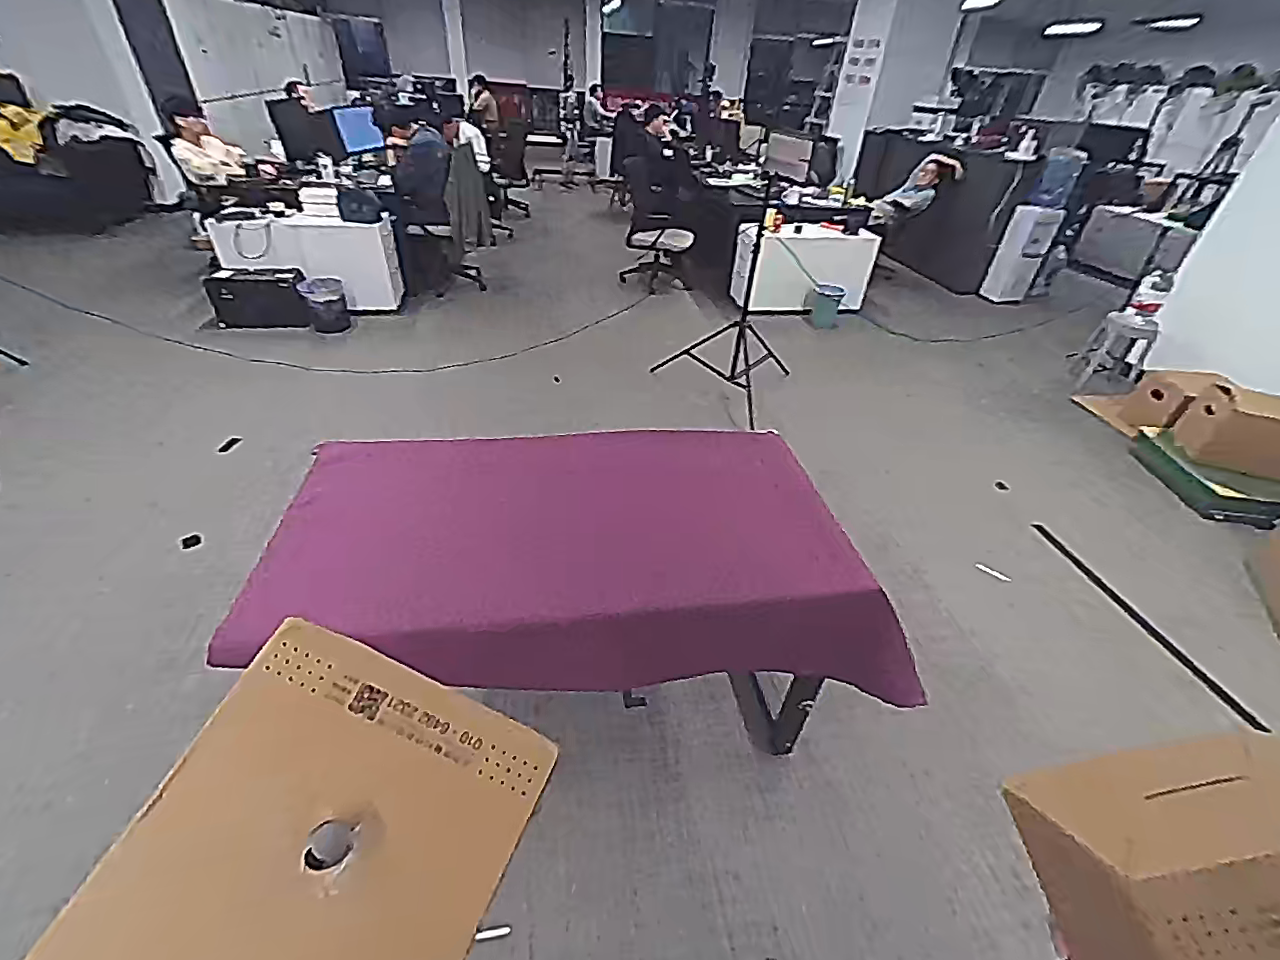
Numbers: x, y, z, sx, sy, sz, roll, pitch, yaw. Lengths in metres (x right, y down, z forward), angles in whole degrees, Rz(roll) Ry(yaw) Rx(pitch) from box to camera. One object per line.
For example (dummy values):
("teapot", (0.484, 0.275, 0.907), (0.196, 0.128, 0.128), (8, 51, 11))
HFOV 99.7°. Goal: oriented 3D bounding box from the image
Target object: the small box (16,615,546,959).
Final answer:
("small box", (-0.171, 0.195, 0.325), (0.168, 0.179, 0.176), (28, 63, -4))
